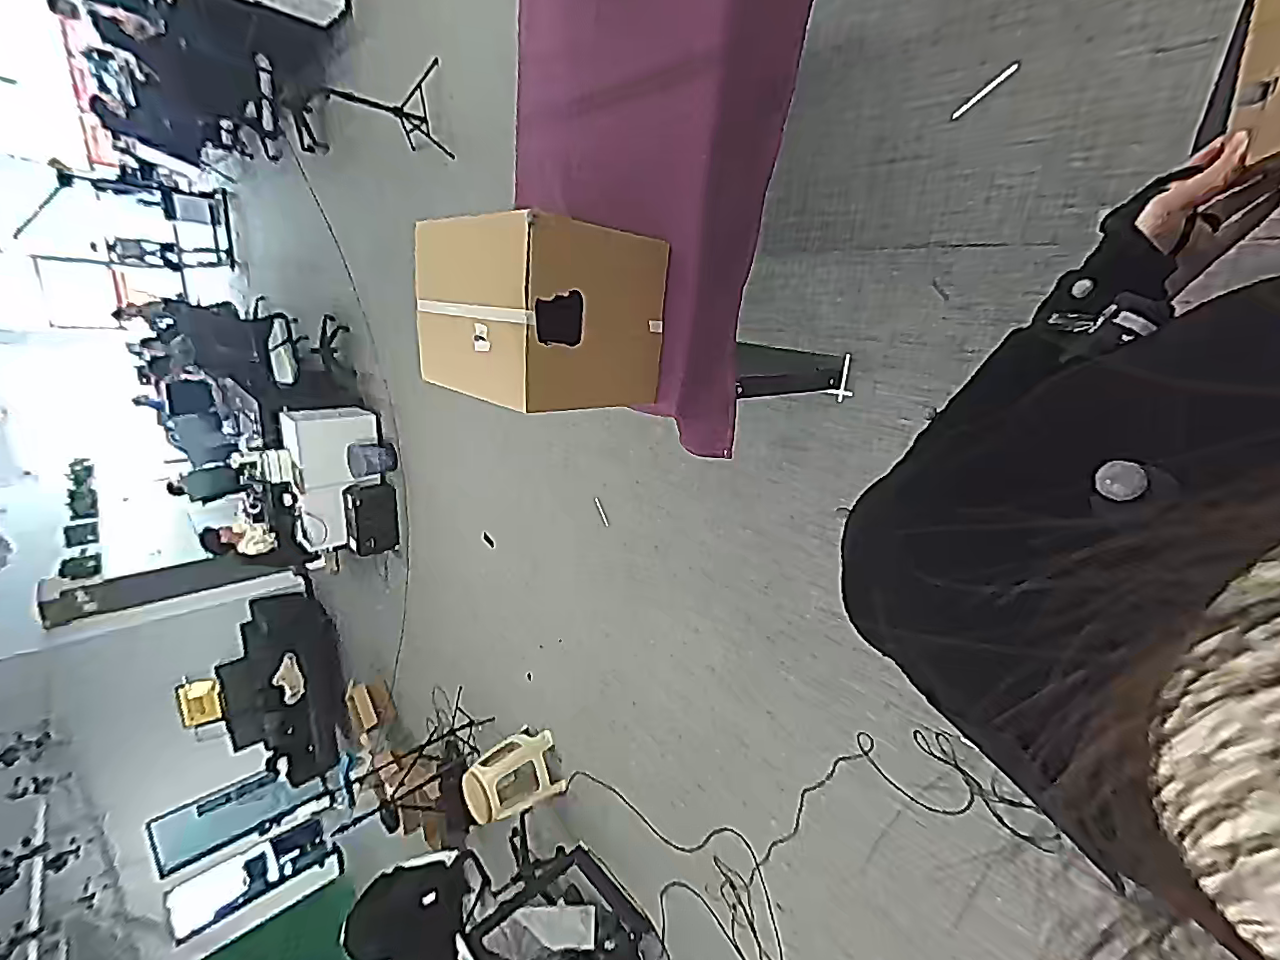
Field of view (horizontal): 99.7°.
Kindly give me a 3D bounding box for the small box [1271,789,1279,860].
[{"bbox_3d":[1.267,0.617,0.946,0.168,0.176,0.179,28,119,38],"label":"small box"}]
